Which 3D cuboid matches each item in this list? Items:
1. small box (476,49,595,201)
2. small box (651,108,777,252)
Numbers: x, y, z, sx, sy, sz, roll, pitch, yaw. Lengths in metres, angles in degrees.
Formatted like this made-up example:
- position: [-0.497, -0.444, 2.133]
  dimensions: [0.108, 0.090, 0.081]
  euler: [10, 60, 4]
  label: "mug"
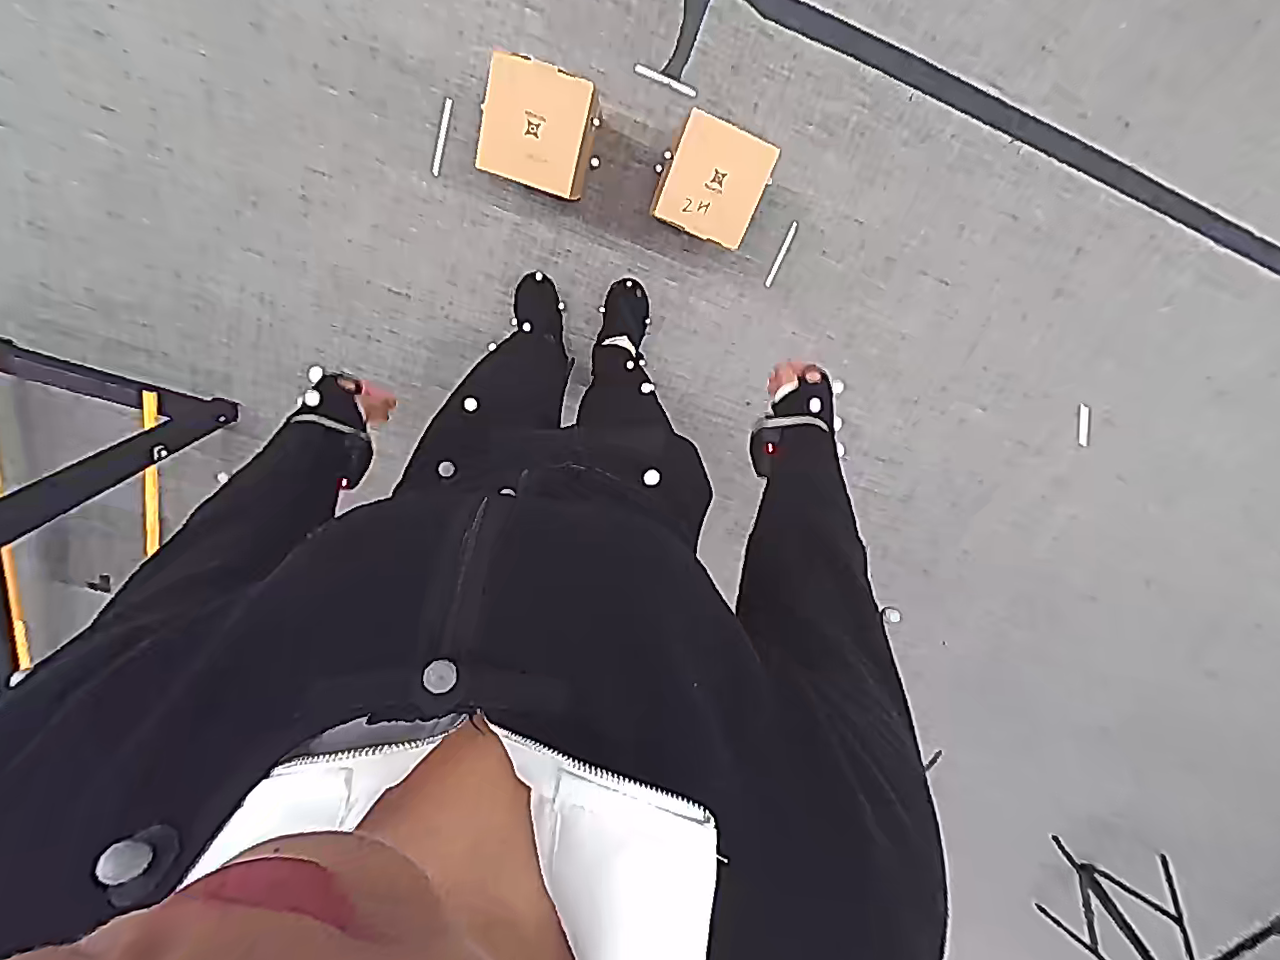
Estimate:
- position: [-0.179, -0.617, 0.964]
  dimensions: [0.168, 0.176, 0.179]
  euler: [15, 116, -7]
  label: "small box"
- position: [0.124, -0.550, 1.008]
  dimensions: [0.168, 0.176, 0.179]
  euler: [19, 115, -11]
  label: "small box"
